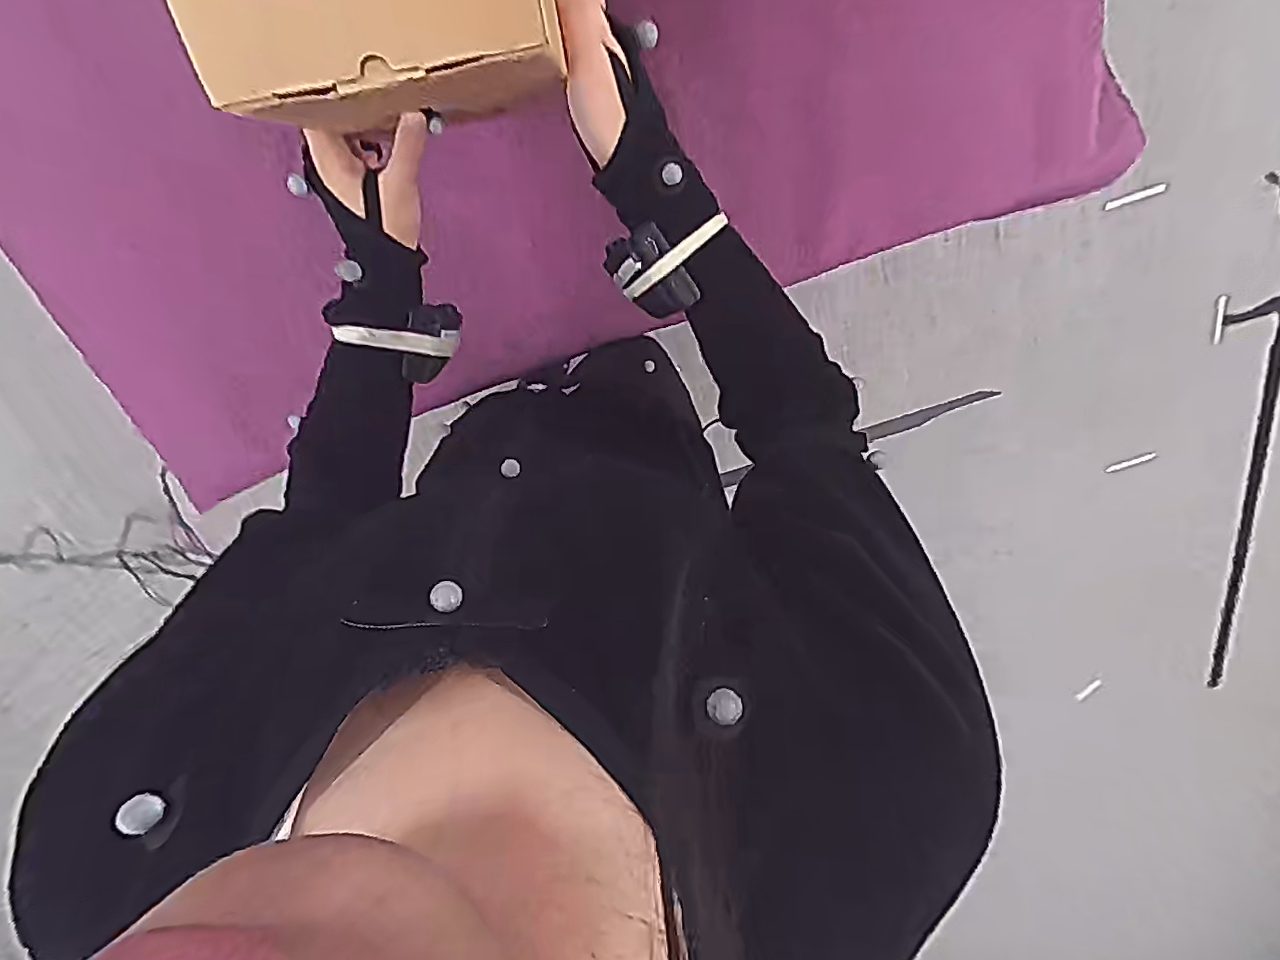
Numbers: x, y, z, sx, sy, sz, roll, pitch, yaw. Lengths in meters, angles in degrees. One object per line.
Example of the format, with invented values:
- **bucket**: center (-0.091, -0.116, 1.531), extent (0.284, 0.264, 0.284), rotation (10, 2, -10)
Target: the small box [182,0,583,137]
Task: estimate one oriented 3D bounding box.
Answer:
- **small box**: center (-0.129, -0.301, 0.285), extent (0.168, 0.176, 0.179), rotation (-8, 118, 3)
